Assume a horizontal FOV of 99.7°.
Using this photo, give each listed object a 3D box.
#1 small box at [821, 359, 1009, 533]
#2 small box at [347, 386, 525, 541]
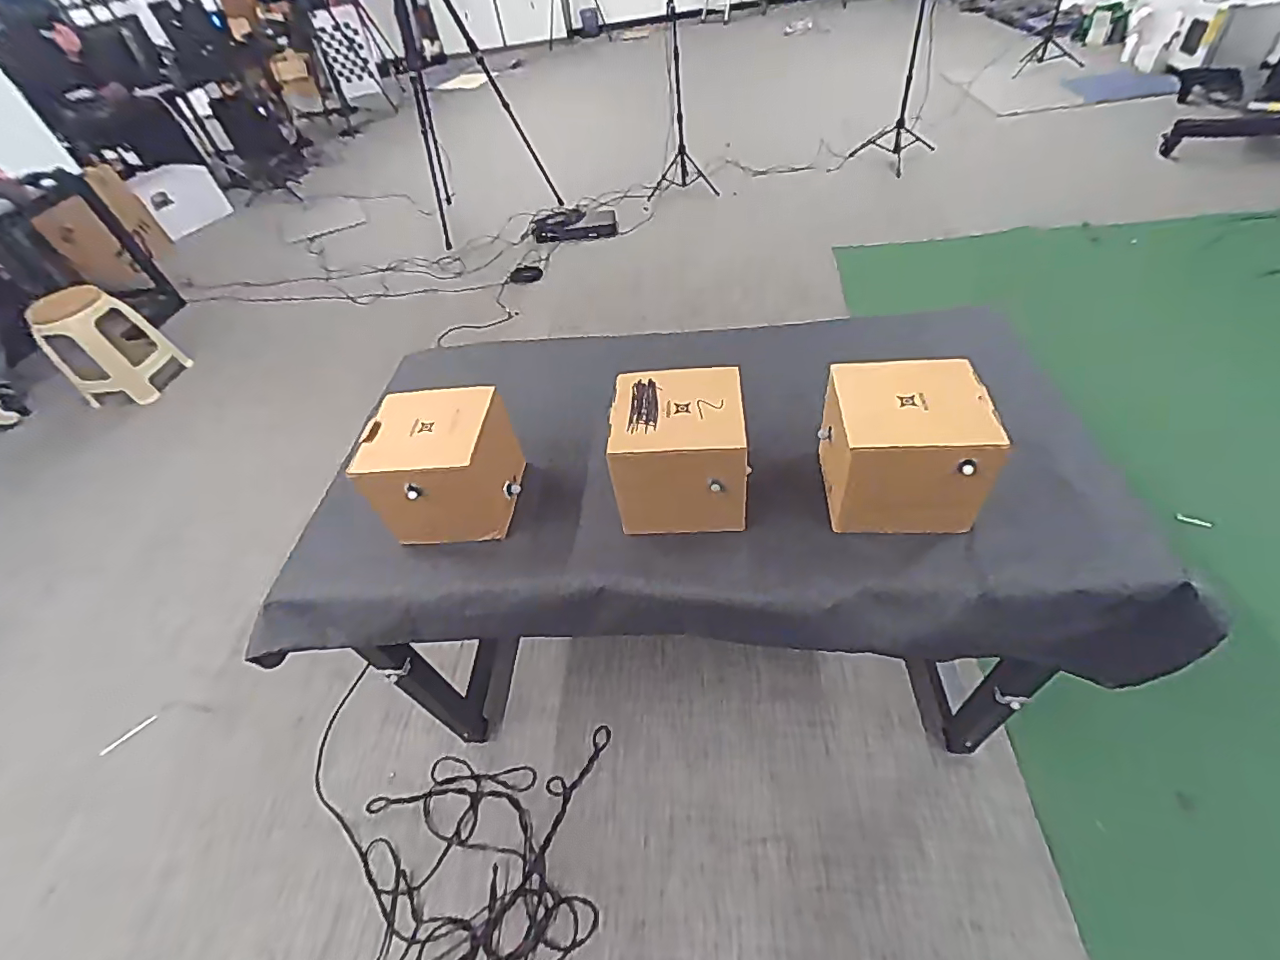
[{"bbox_3d":[0.345,-0.042,0.725,0.179,0.176,0.168,-1,48,9],"label":"small box"},{"bbox_3d":[-0.291,-0.020,0.816,0.179,0.176,0.168,-3,49,6],"label":"small box"}]
